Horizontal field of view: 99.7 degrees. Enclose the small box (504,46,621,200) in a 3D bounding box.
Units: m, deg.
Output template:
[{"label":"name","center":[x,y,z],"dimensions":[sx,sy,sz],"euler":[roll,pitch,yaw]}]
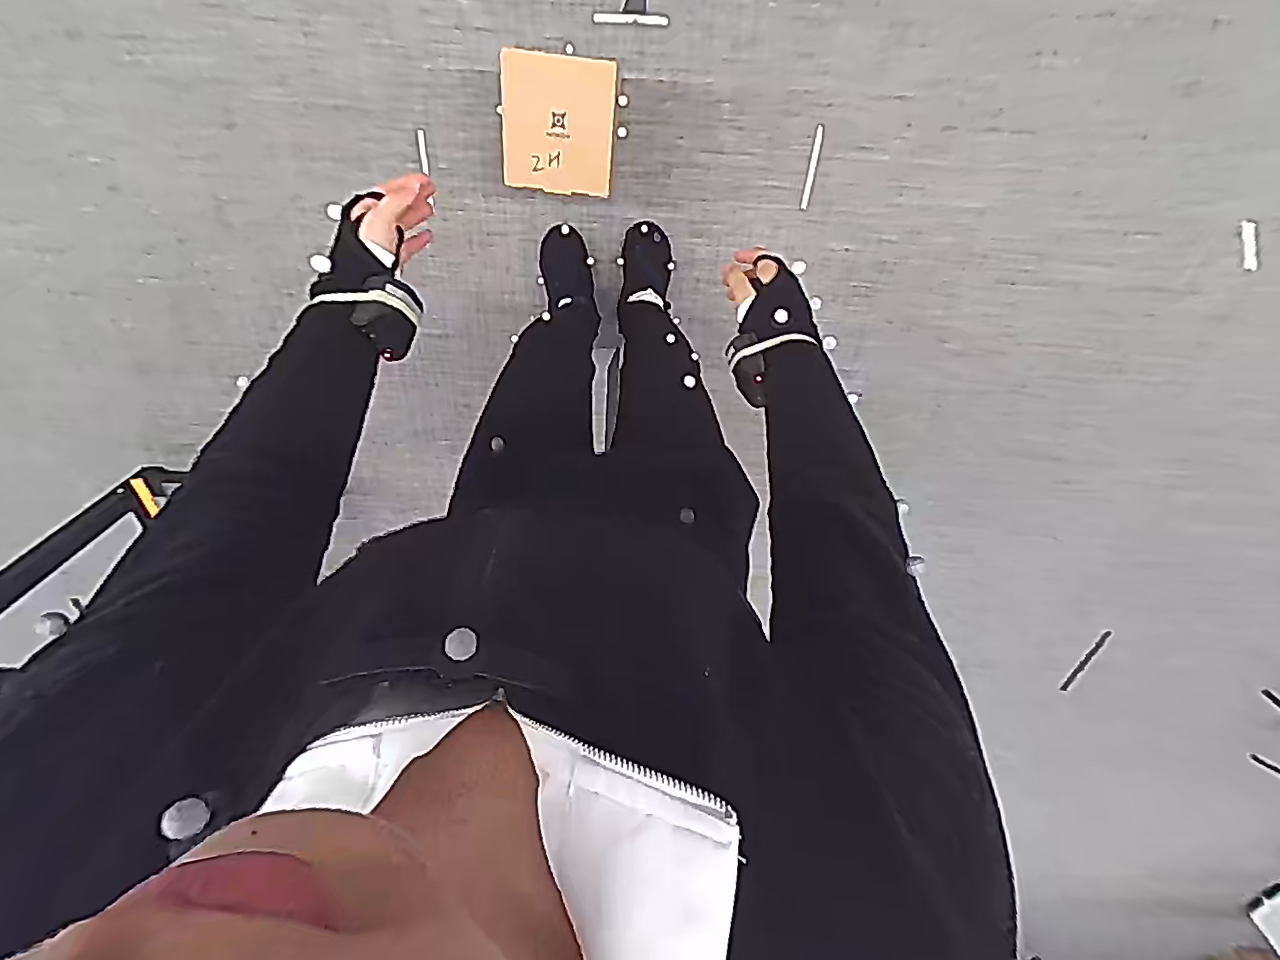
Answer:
[{"label":"small box","center":[-0.120,-0.568,0.866],"dimensions":[0.168,0.176,0.179],"euler":[6,126,-4]}]
